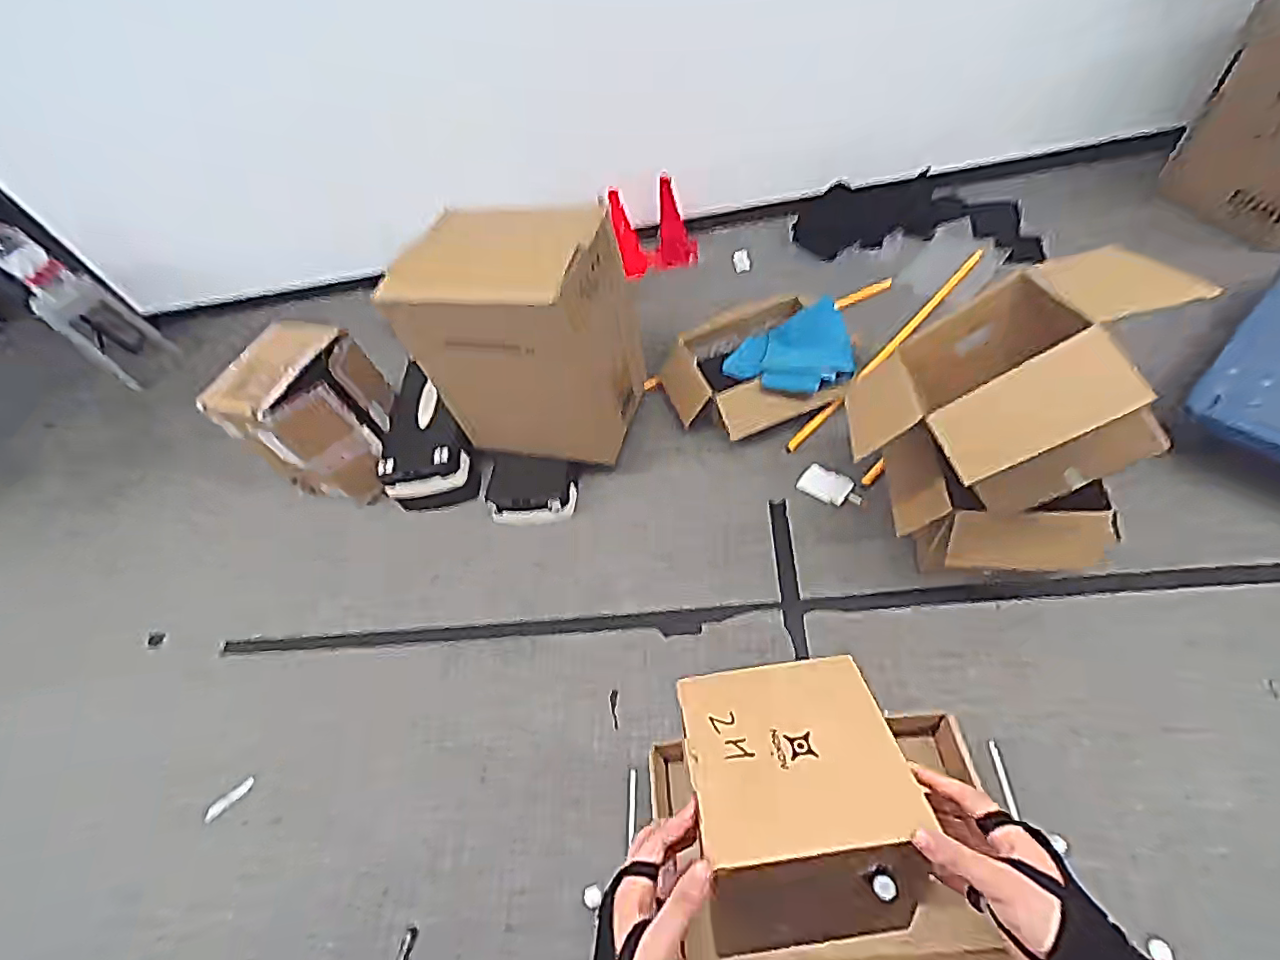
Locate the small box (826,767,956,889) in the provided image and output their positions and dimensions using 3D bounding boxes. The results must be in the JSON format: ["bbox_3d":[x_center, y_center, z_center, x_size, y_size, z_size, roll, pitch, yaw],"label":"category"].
[{"bbox_3d":[0.463,0.666,1.031,0.168,0.176,0.179,-10,53,7],"label":"small box"}]
